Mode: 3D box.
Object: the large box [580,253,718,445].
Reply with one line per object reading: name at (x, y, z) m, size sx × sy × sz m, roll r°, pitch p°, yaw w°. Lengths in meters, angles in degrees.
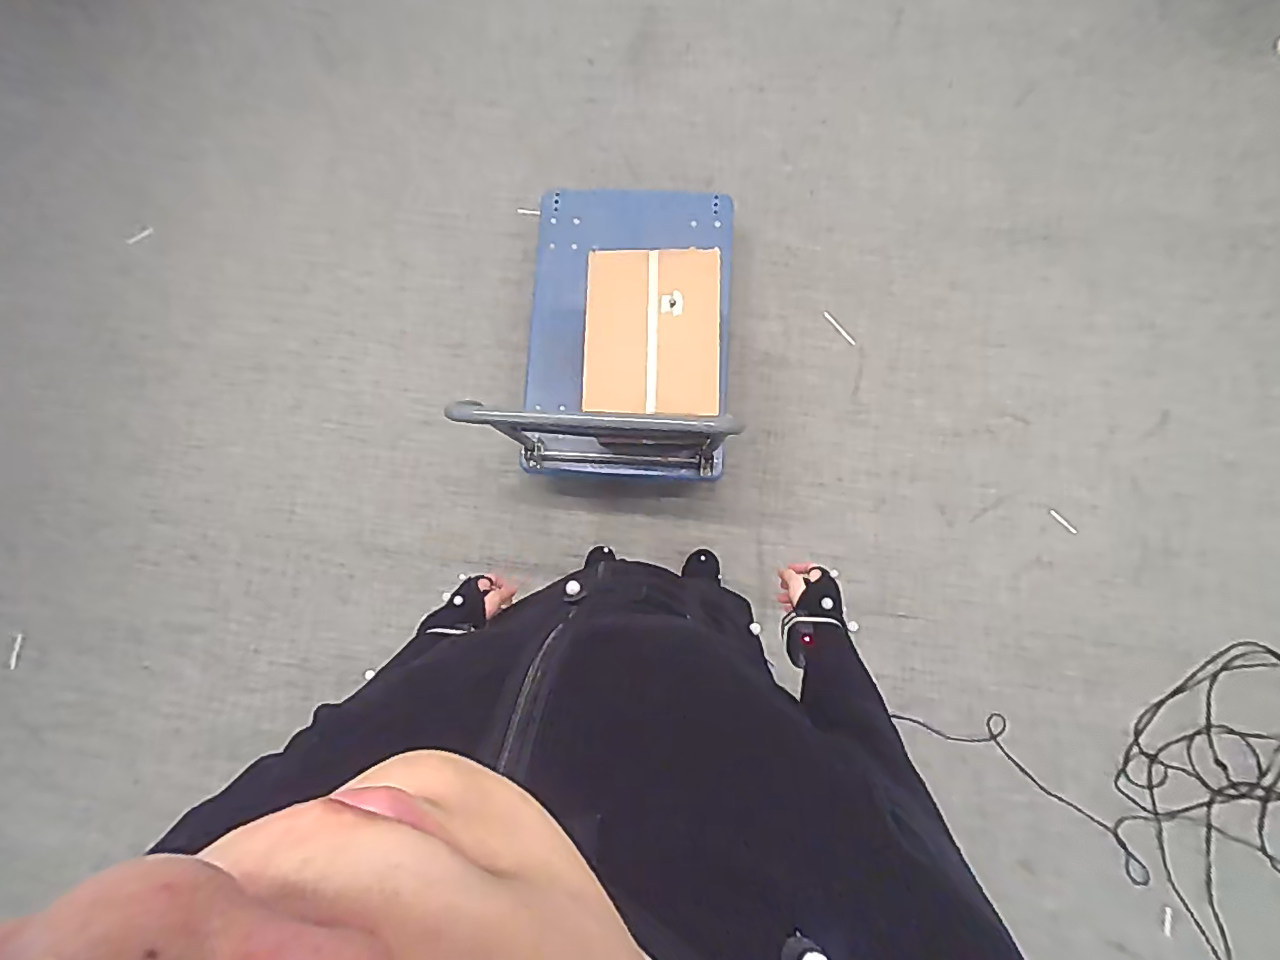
large box at (0.029, -0.314, 1.390) m, size 0.320 × 0.320 × 0.408 m, roll 1°, pitch 81°, yaw 2°
